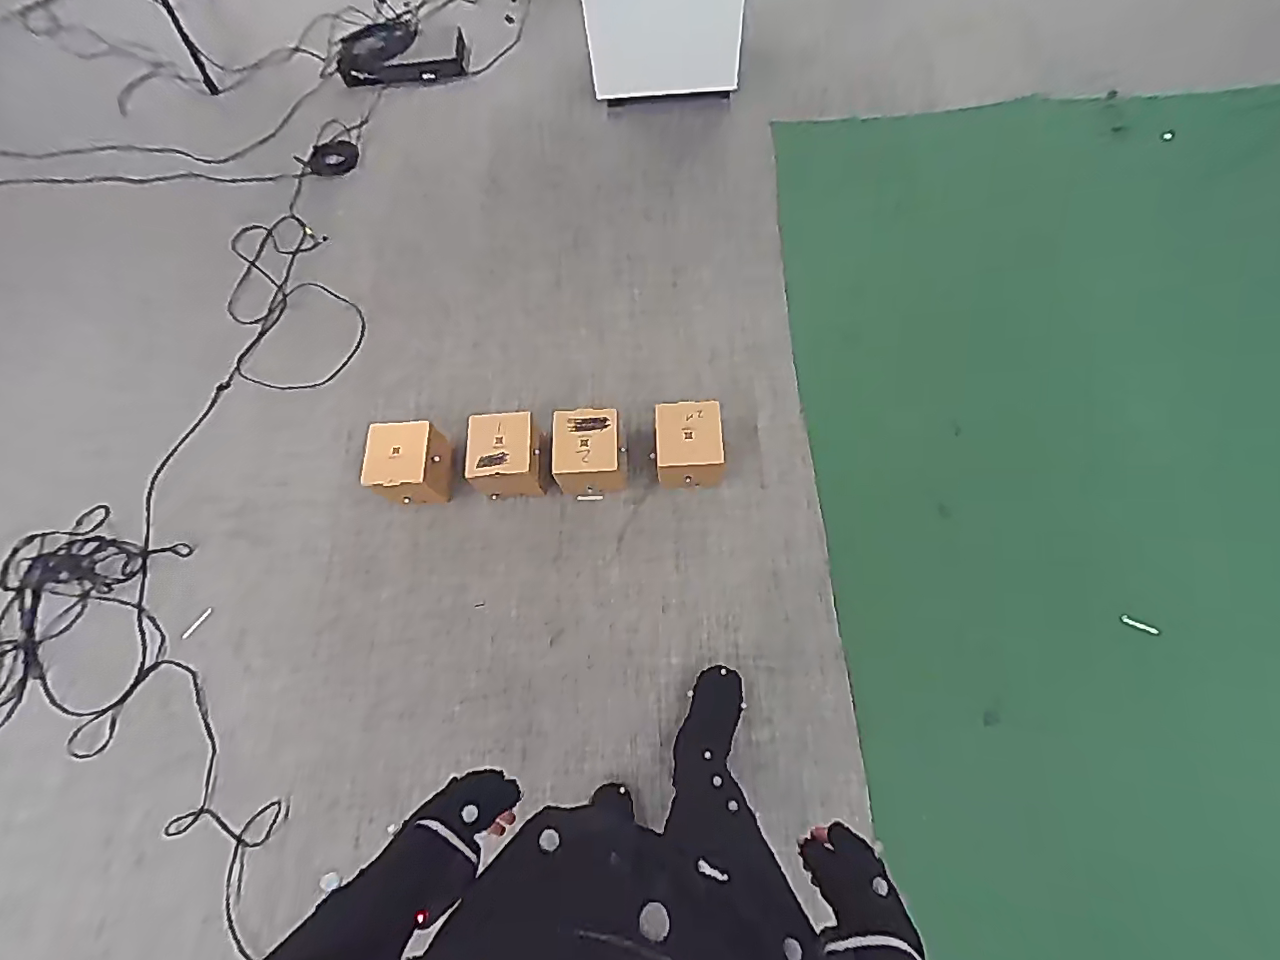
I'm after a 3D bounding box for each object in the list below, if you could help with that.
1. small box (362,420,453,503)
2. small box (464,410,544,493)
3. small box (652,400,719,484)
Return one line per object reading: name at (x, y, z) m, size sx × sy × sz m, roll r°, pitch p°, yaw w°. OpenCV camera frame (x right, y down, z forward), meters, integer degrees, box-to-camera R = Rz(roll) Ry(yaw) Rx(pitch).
small box at (-0.624, -0.047, 1.478) m, size 0.168 × 0.176 × 0.179 m, roll -4°, pitch 69°, yaw 4°
small box at (-0.360, -0.069, 1.462) m, size 0.168 × 0.176 × 0.179 m, roll -4°, pitch 68°, yaw 4°
small box at (0.120, -0.094, 1.436) m, size 0.168 × 0.176 × 0.179 m, roll -2°, pitch 69°, yaw 3°
